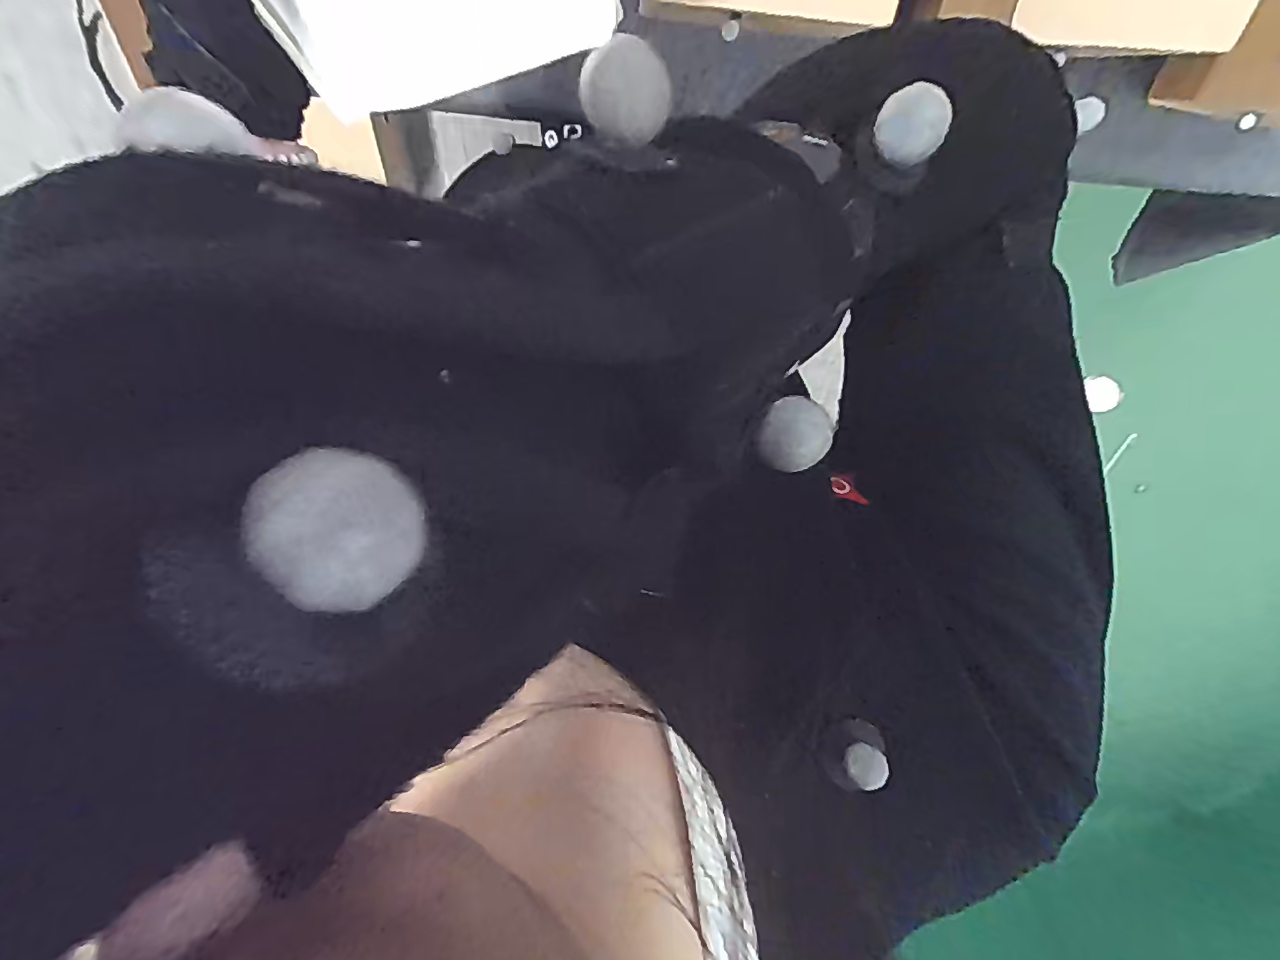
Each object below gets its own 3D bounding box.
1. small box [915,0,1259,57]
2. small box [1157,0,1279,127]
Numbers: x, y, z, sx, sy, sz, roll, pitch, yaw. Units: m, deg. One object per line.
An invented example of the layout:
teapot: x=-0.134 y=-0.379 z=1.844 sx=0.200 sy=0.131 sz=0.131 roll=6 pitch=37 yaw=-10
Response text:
small box: x=0.342 y=-0.425 z=0.402 sx=0.179 sy=0.176 sz=0.168 roll=0 pitch=127 yaw=-3
small box: x=0.600 y=-0.396 z=0.437 sx=0.168 sy=0.176 sz=0.179 roll=6 pitch=127 yaw=-6
